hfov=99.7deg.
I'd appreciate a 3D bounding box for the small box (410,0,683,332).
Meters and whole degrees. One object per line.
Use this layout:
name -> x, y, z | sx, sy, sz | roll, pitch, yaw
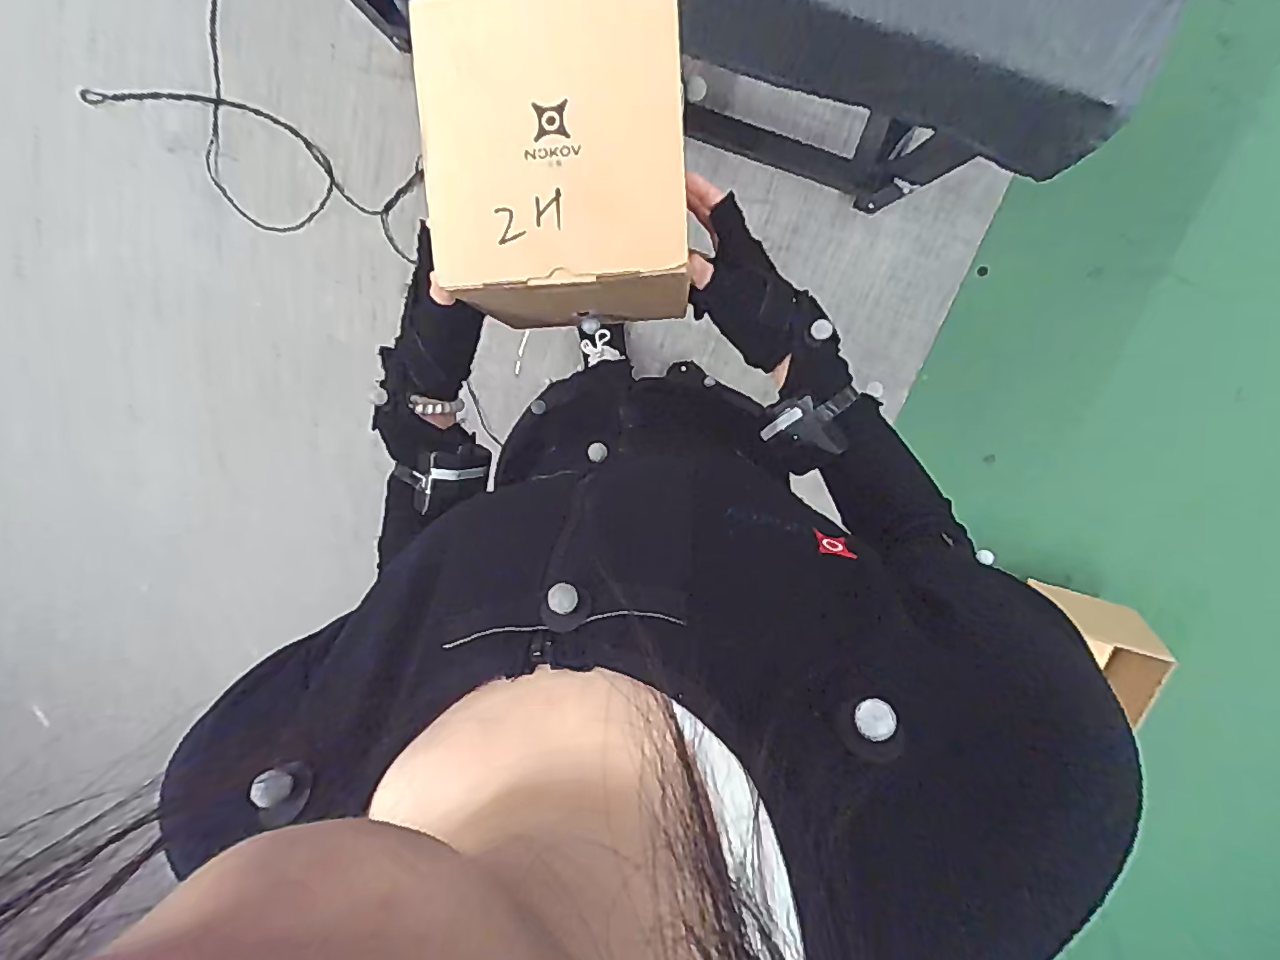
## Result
small box -> -0.053, -0.219, 0.415 | 0.168, 0.176, 0.179 | -2, 97, 5
